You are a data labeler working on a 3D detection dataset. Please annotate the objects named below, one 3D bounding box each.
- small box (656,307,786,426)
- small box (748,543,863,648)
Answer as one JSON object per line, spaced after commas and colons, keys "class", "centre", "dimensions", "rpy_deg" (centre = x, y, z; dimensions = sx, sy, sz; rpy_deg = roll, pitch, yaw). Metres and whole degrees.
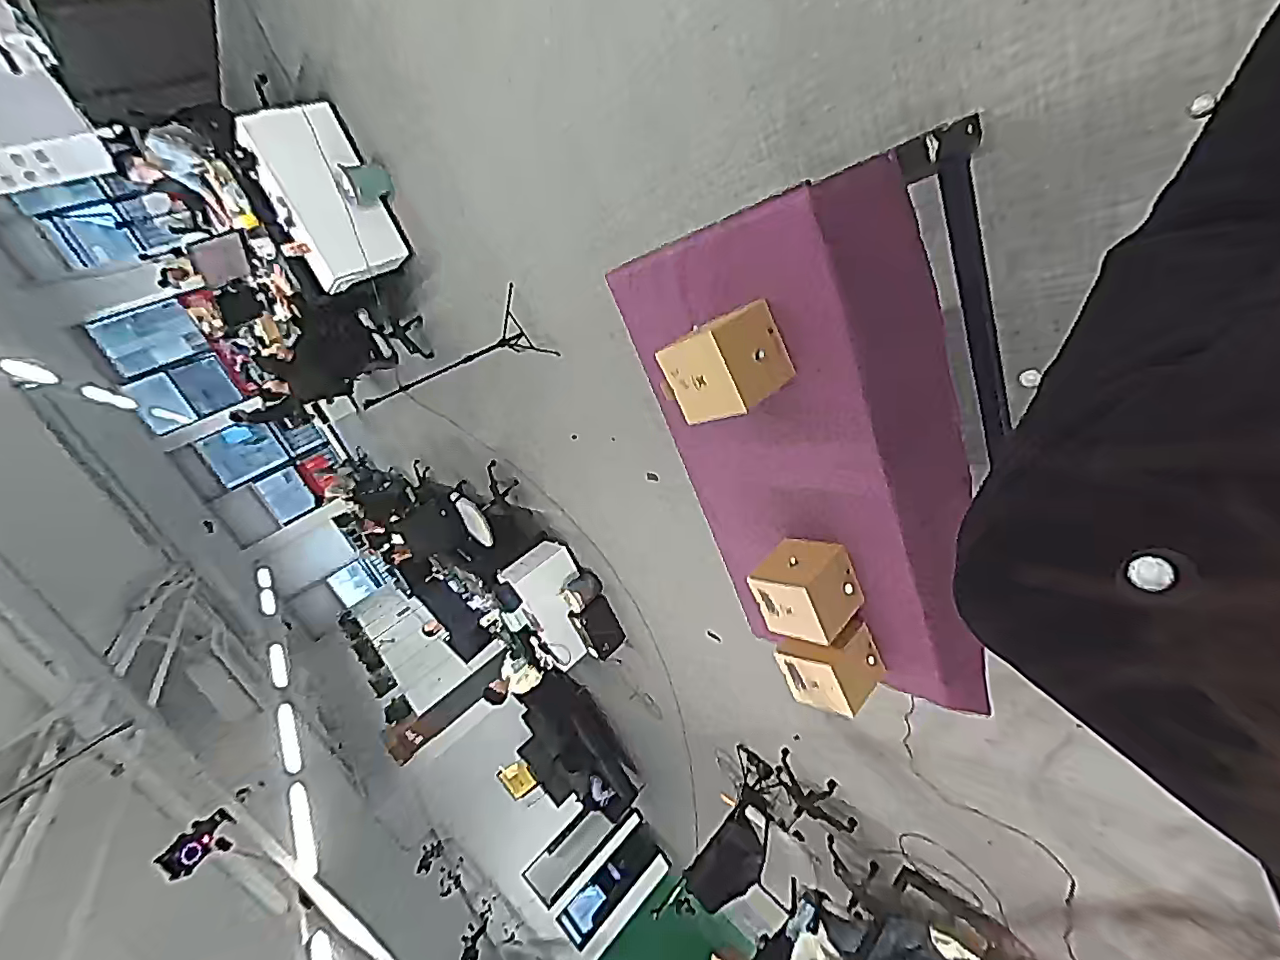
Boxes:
{"class": "small box", "centre": [0.171, -0.228, 1.096], "dimensions": [0.179, 0.176, 0.168], "rpy_deg": [-3, 119, 57]}
{"class": "small box", "centre": [0.399, 0.267, 1.299], "dimensions": [0.179, 0.176, 0.168], "rpy_deg": [0, 121, 55]}
